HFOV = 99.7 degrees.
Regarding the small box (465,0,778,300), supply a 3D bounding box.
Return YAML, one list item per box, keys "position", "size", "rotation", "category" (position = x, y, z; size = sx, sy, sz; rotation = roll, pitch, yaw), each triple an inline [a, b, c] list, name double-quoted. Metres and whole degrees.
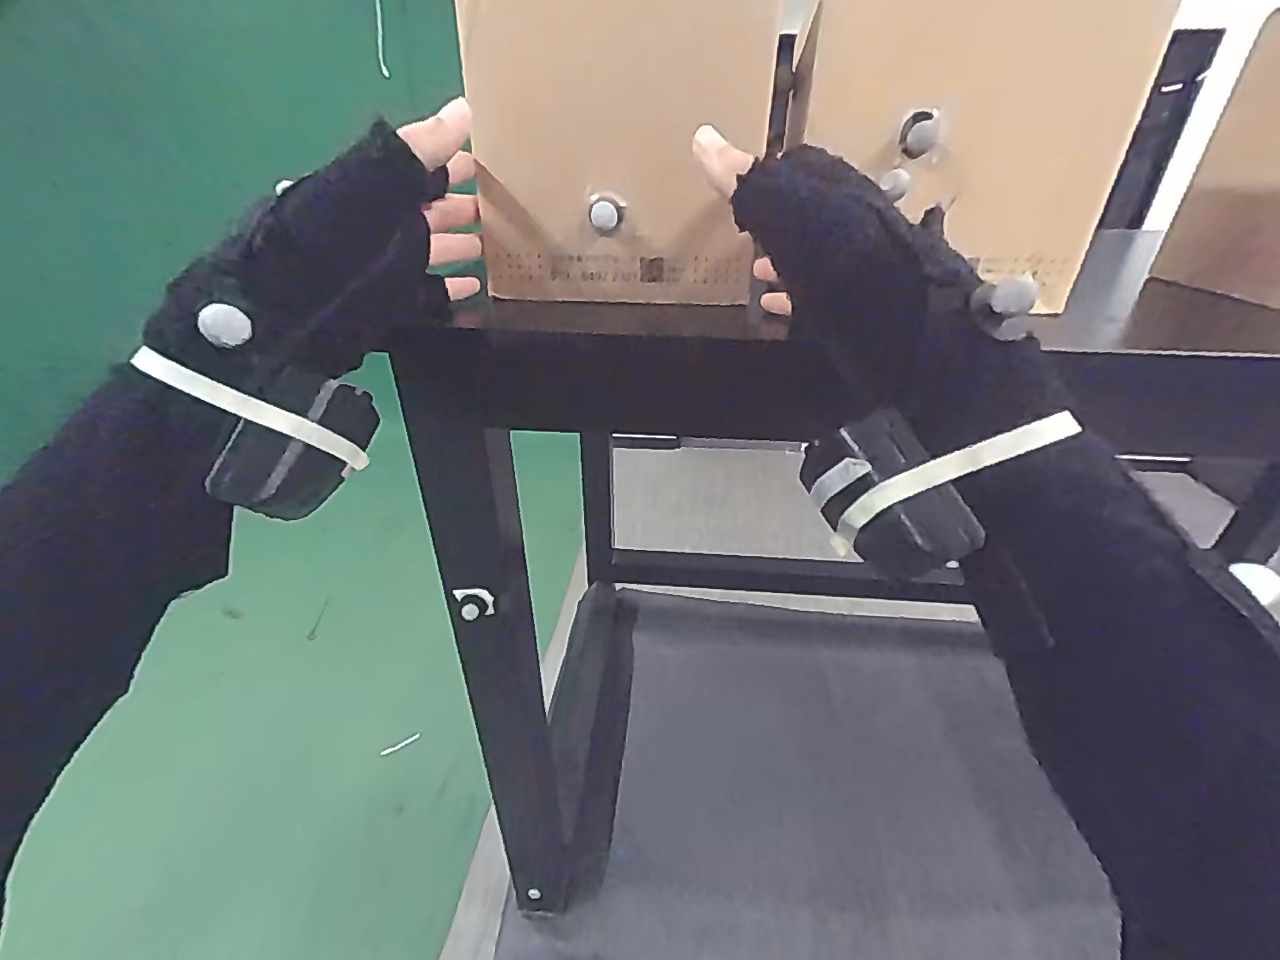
- position: [-0.009, -0.231, 0.375]
  size: [0.168, 0.176, 0.179]
  rotation: [2, 30, 3]
  category: "small box"
